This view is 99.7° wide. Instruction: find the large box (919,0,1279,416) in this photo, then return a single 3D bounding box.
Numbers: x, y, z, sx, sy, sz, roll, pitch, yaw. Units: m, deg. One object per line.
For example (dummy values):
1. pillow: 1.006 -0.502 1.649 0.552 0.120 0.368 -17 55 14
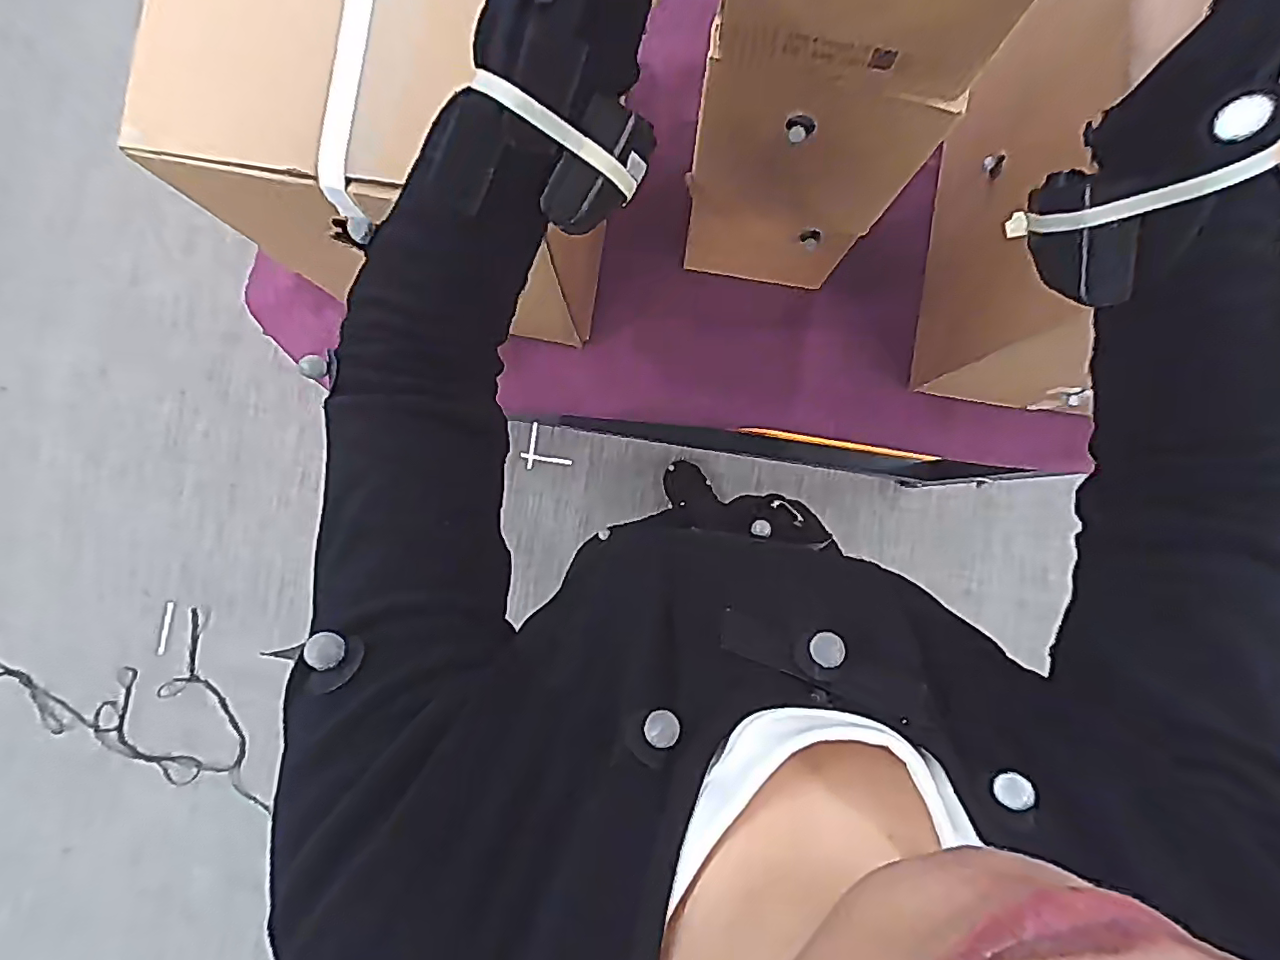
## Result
1. large box: 0.508 -0.297 0.523 0.320 0.320 0.408 8 86 1
